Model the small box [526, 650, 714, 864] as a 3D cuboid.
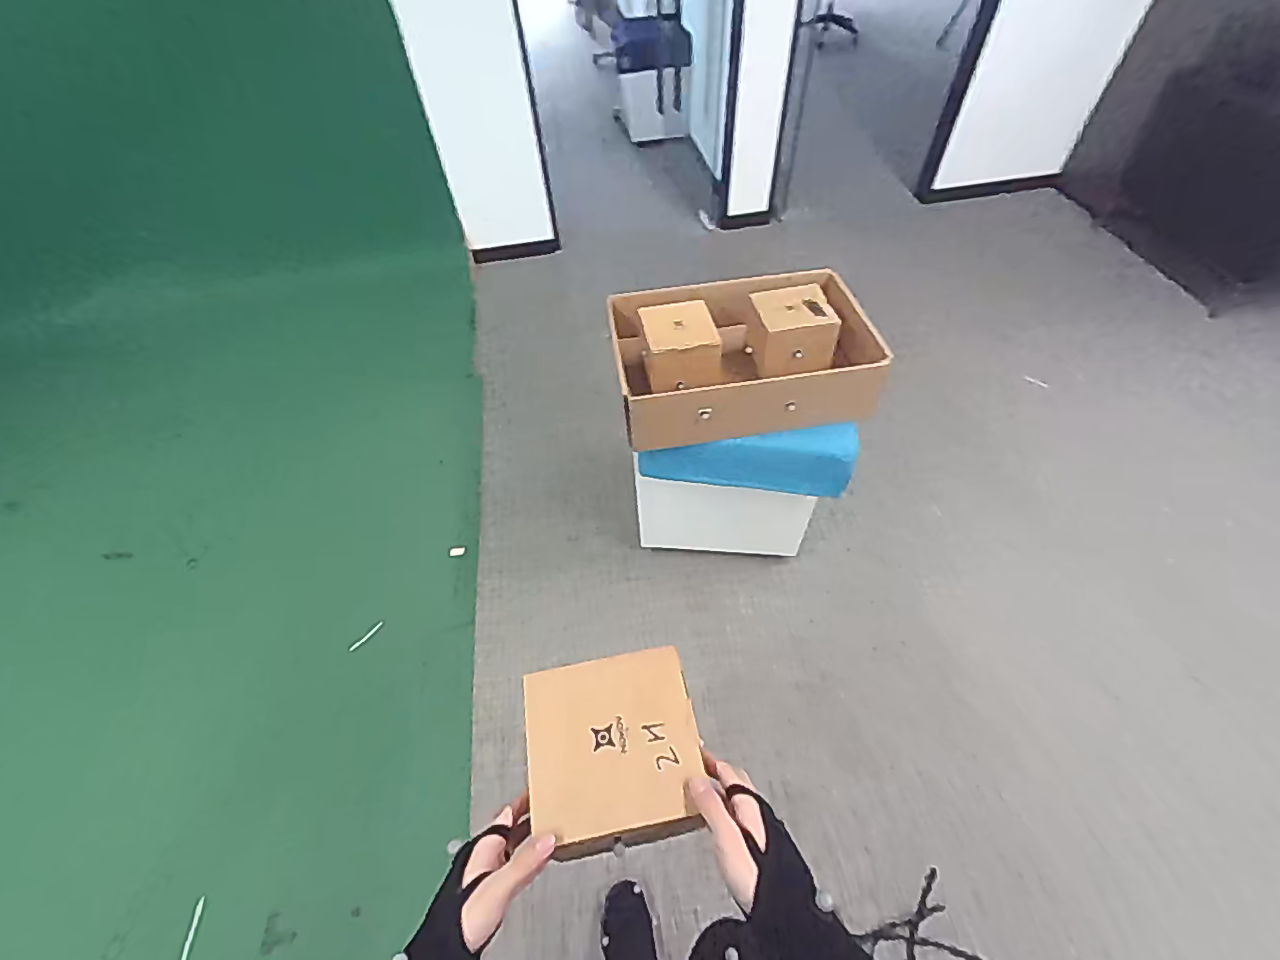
[{"bbox_3d":[-0.023,0.315,0.609,0.179,0.176,0.168,-9,51,-4],"label":"small box"}]
